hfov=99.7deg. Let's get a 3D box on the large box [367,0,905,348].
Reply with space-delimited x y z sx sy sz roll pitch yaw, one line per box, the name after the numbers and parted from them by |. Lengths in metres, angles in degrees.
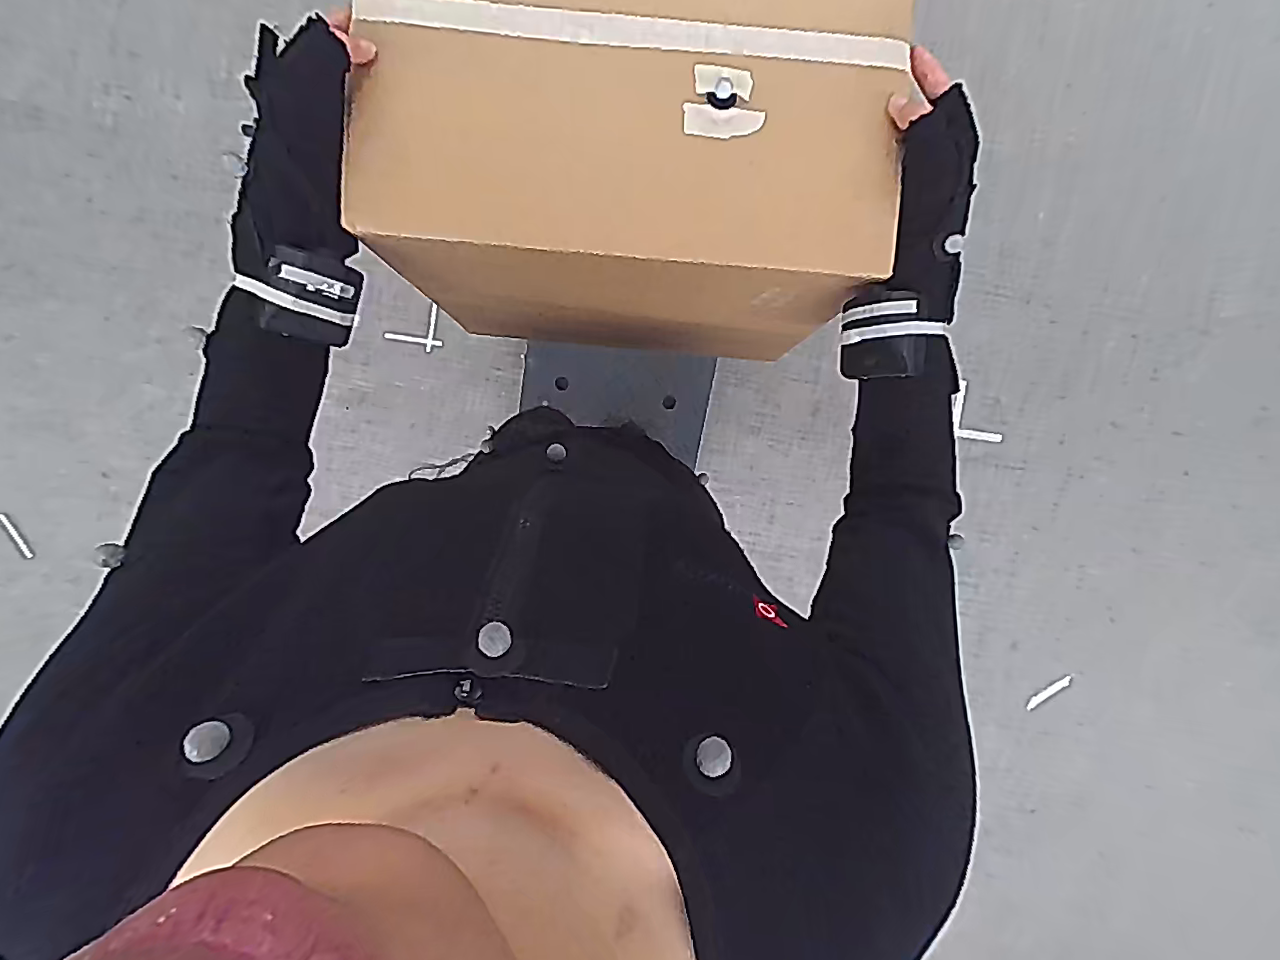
-0.005 -0.333 0.557 0.408 0.320 0.320 4 91 -2 | large box
